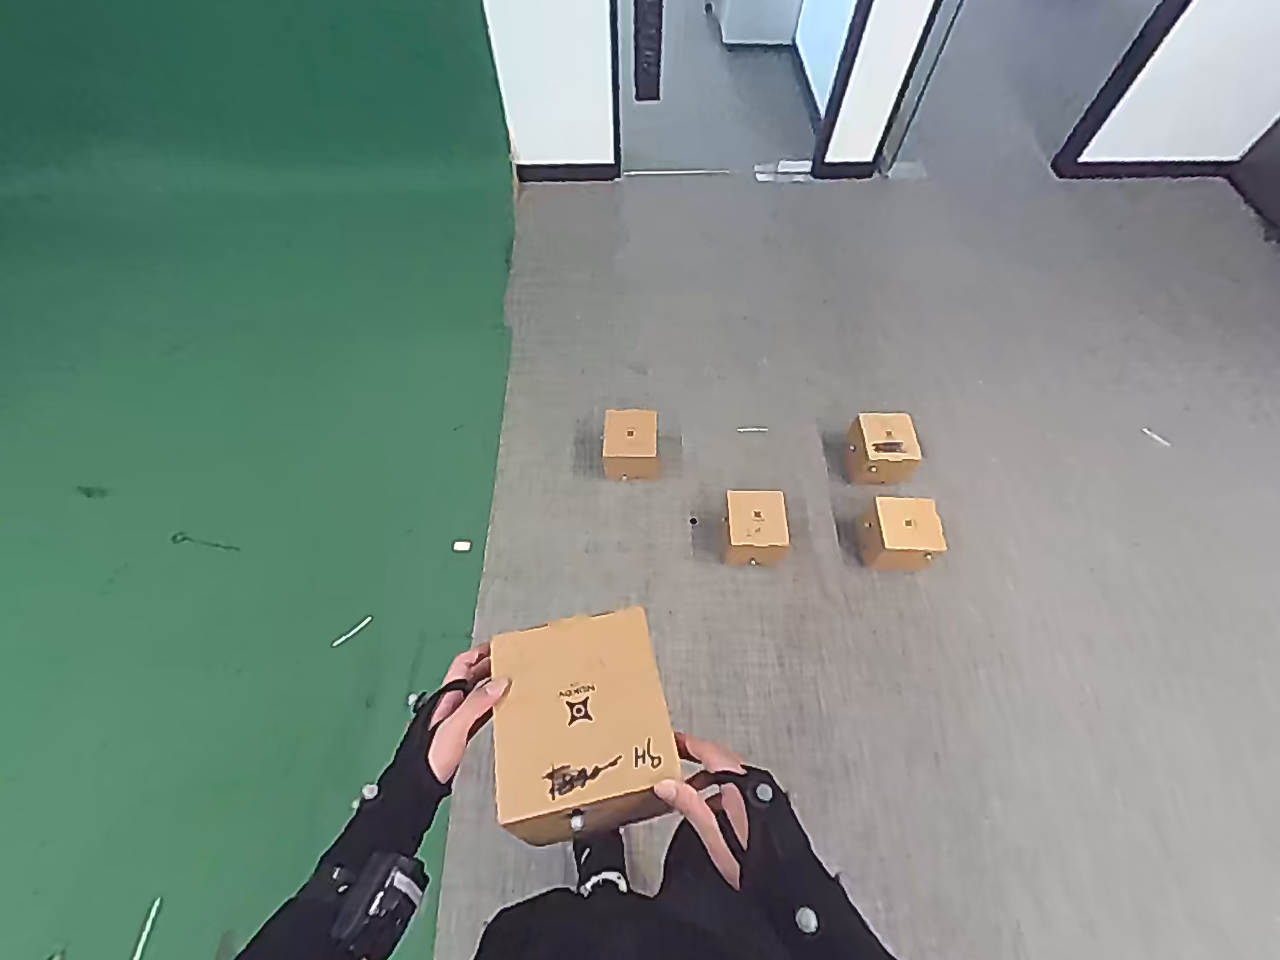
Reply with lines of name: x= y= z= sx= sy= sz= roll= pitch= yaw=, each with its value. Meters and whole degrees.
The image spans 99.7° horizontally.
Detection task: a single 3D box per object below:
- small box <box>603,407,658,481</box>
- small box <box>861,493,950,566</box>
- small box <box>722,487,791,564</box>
small box: x=-0.027 y=-0.116 z=1.741 sx=0.168 sy=0.176 sz=0.179 roll=1 pitch=62 yaw=1
small box: x=0.772 y=0.150 z=1.598 sx=0.179 sy=0.176 sz=0.168 roll=2 pitch=61 yaw=0
small box: x=0.337 y=0.136 z=1.602 sx=0.168 sy=0.176 sz=0.179 roll=1 pitch=61 yaw=0
